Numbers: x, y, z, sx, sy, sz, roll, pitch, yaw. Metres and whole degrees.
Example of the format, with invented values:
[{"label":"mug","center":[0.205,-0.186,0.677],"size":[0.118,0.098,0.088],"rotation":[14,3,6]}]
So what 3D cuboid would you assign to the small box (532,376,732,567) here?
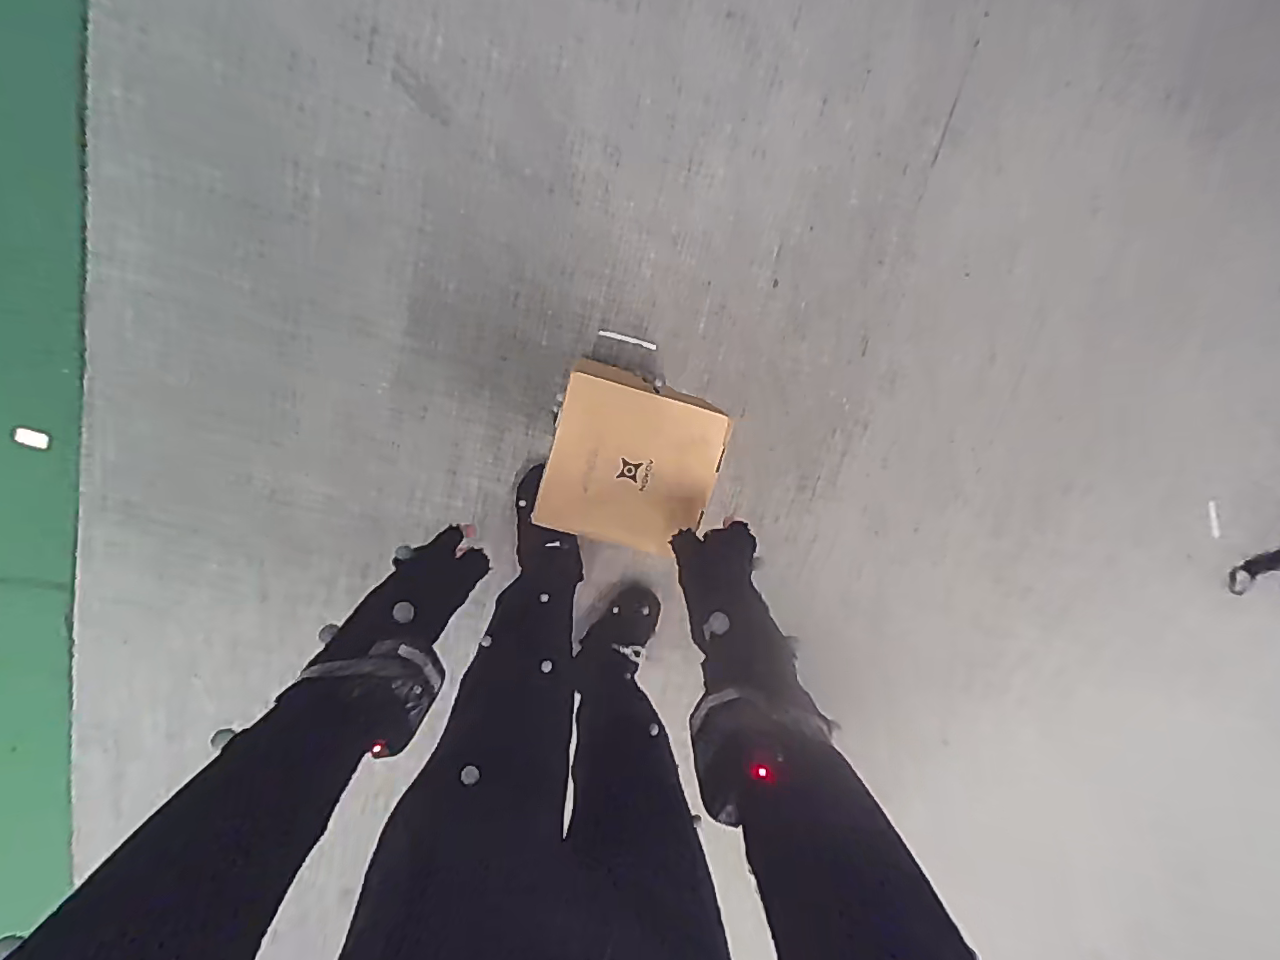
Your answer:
[{"label":"small box","center":[-0.016,-0.021,0.641],"size":[0.179,0.176,0.168],"rotation":[15,103,-9]}]
